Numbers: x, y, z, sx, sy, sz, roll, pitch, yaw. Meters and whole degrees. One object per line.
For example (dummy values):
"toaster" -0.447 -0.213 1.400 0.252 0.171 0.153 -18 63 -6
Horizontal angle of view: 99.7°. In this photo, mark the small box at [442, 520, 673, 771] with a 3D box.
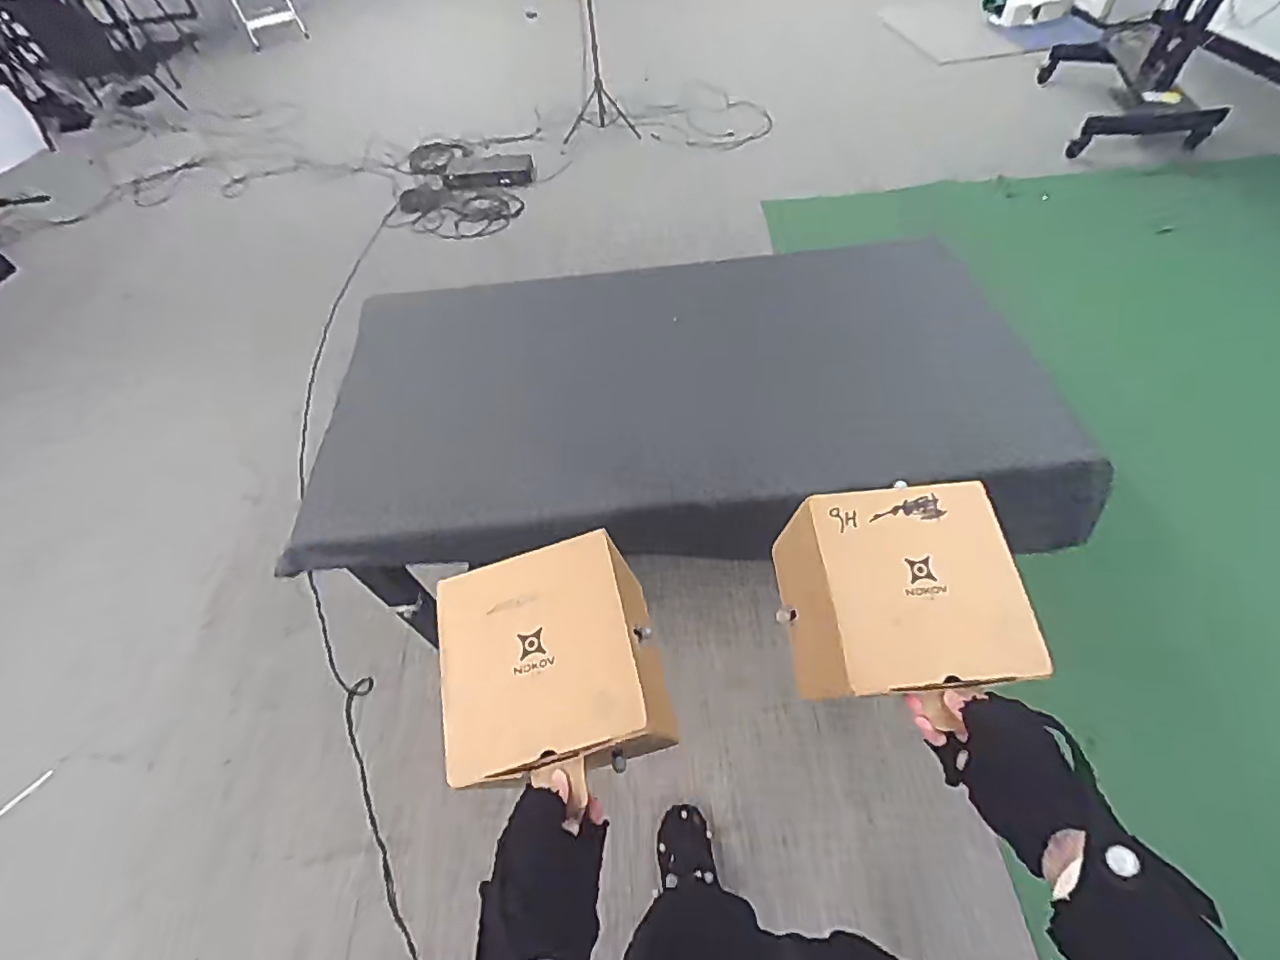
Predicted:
"small box" -0.074 0.170 0.531 0.168 0.176 0.179 -18 59 2
